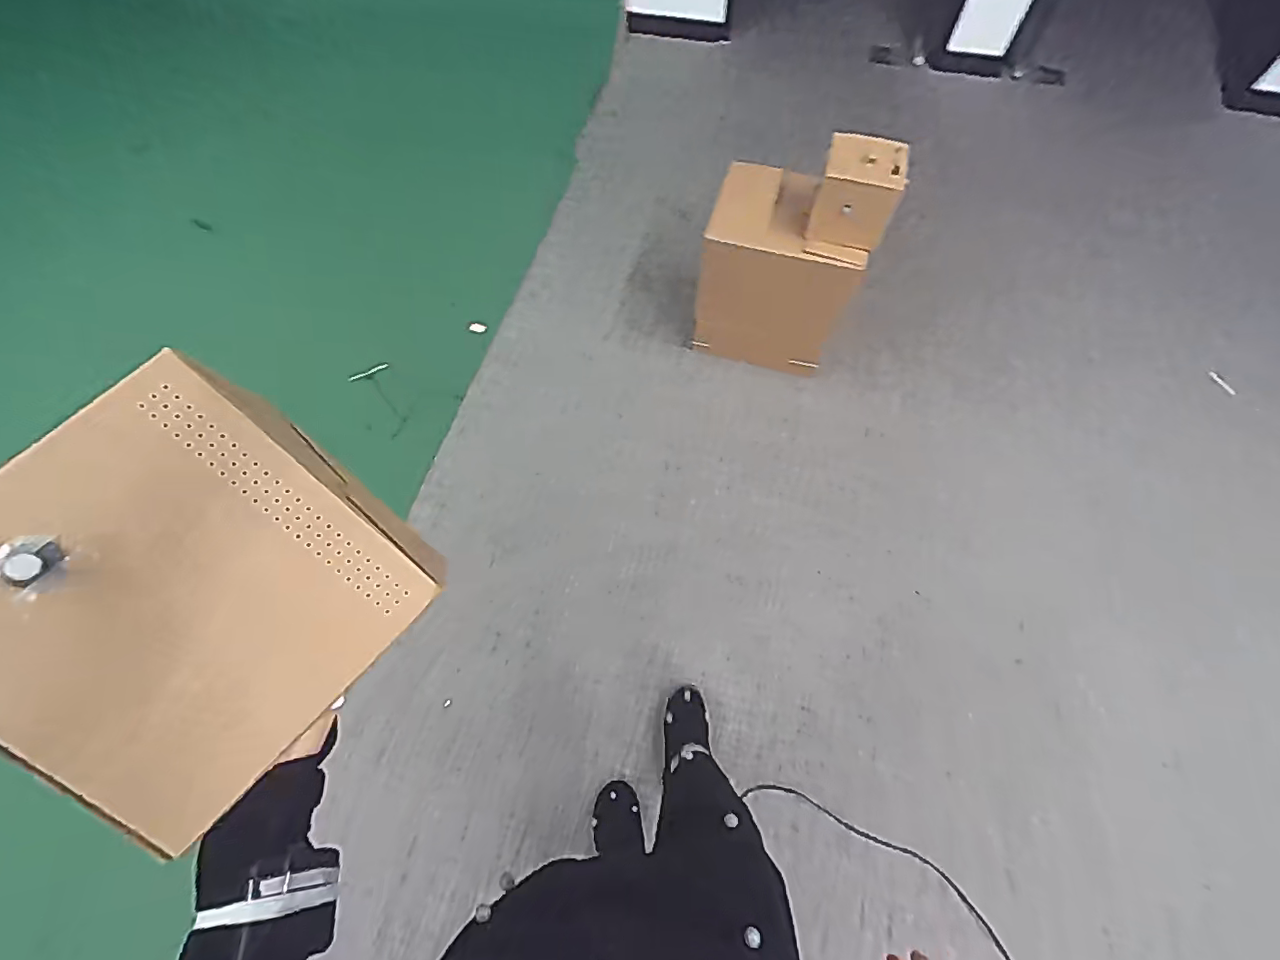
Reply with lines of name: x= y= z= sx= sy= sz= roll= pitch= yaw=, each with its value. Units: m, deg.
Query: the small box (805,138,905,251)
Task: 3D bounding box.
small box: x=0.510 y=-0.681 z=1.300 sx=0.179 sy=0.176 sz=0.168 roll=14 pitch=67 yaw=8
